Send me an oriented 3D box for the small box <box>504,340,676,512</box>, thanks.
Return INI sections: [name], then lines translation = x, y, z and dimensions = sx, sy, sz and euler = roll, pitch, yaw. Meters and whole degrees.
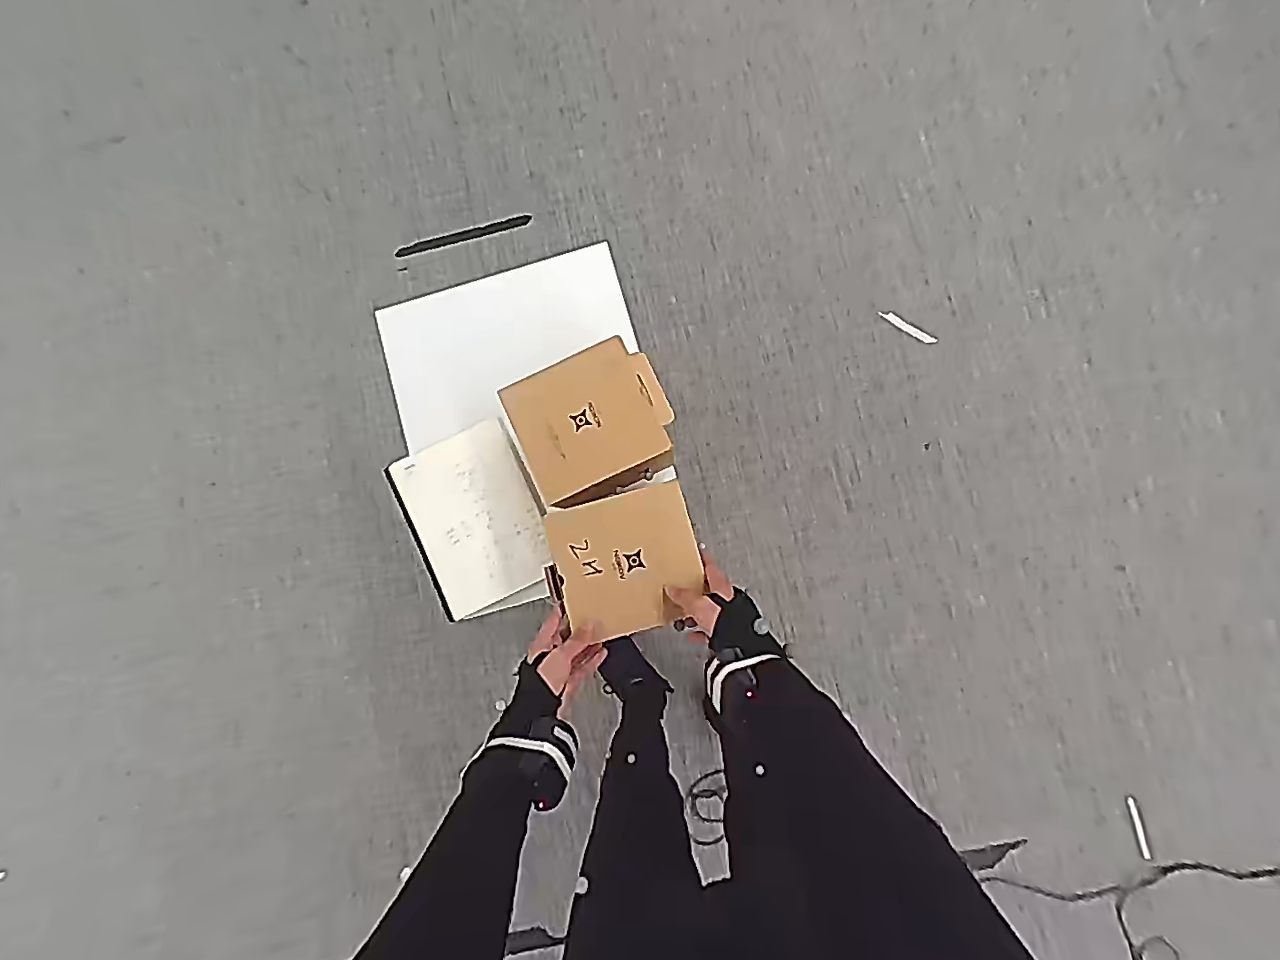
[small box]
translation = -0.061, -0.065, 0.763
dimensions = 0.179, 0.176, 0.168
euler = -25, 82, 1
